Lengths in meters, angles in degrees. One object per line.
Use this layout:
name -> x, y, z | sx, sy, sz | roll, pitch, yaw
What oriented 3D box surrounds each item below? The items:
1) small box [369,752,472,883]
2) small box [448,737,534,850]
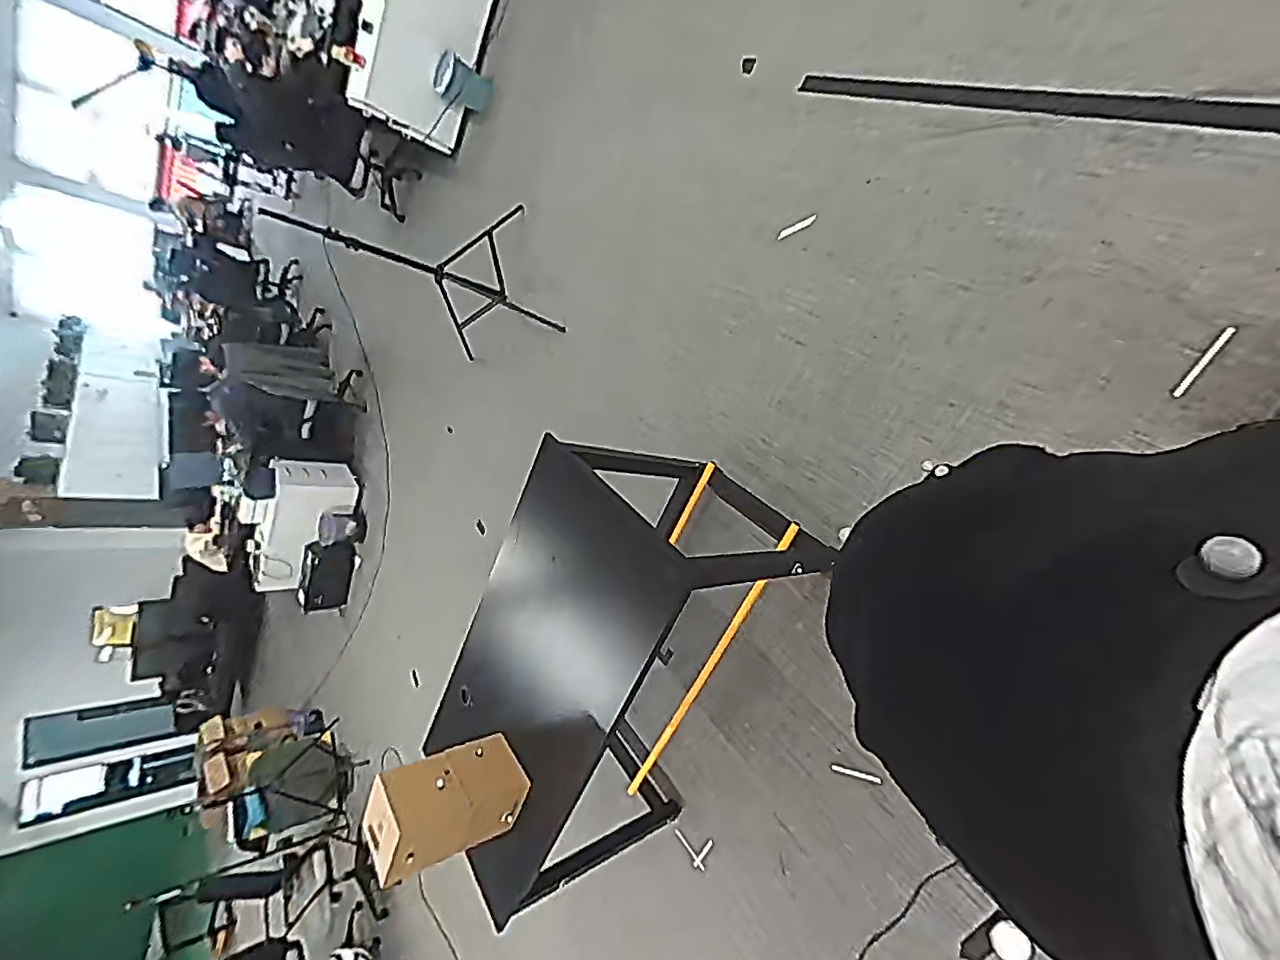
small box -> -0.520, 0.791, 1.283 | 0.168, 0.176, 0.179 | 37, 112, 41
small box -> -0.404, 0.796, 1.400 | 0.179, 0.176, 0.168 | 36, 113, 40
